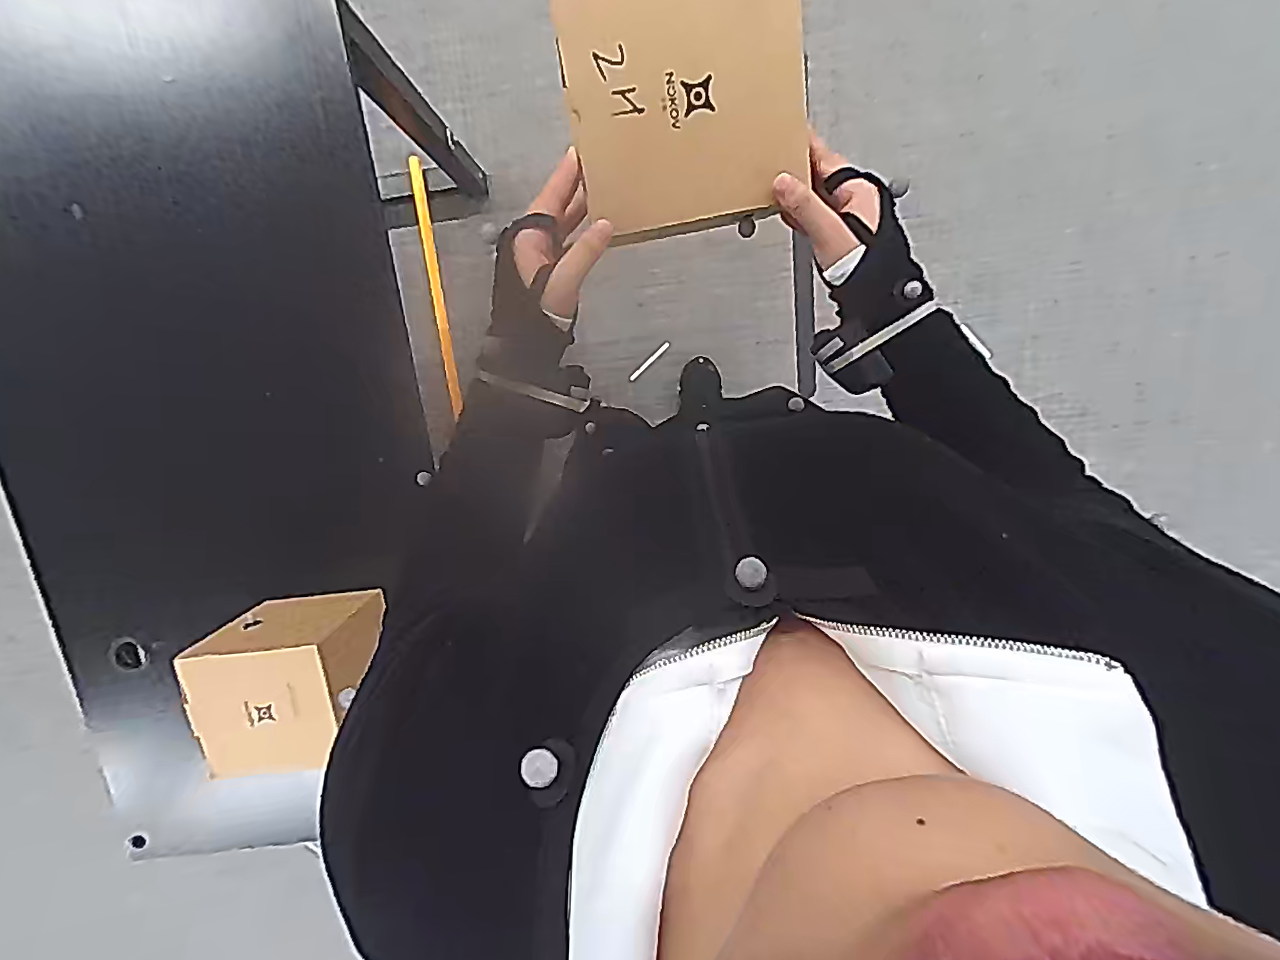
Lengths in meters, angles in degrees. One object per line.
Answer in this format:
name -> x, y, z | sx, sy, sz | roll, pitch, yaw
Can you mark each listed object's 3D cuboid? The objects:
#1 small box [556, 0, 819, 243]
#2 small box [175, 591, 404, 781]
small box -> 0.038, -0.306, 0.461 | 0.179, 0.176, 0.168 | -9, 111, 4
small box -> -0.447, 0.263, 0.720 | 0.179, 0.176, 0.168 | -7, 102, 1
